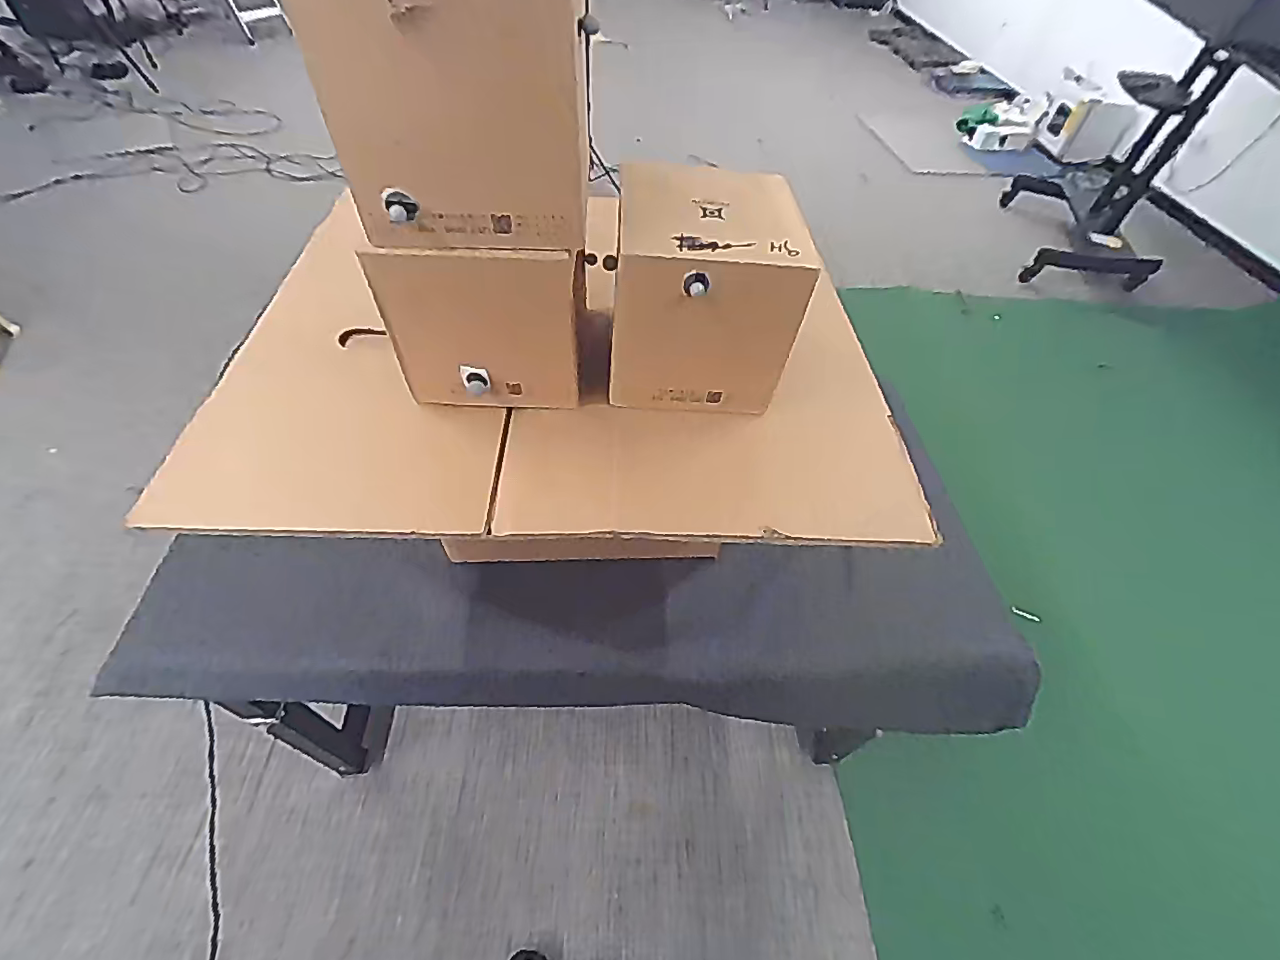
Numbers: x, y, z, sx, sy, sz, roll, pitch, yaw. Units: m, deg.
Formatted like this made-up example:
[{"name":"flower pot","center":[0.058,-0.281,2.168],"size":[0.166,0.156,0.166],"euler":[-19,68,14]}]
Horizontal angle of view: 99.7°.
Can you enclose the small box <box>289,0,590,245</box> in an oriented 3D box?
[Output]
[{"name":"small box","center":[-0.126,-0.302,0.421],"size":[0.168,0.176,0.179],"euler":[0,51,-3]}]

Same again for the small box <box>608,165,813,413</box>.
[{"name":"small box","center":[0.055,-0.193,0.555],"size":[0.168,0.176,0.179],"euler":[3,51,-4]}]
